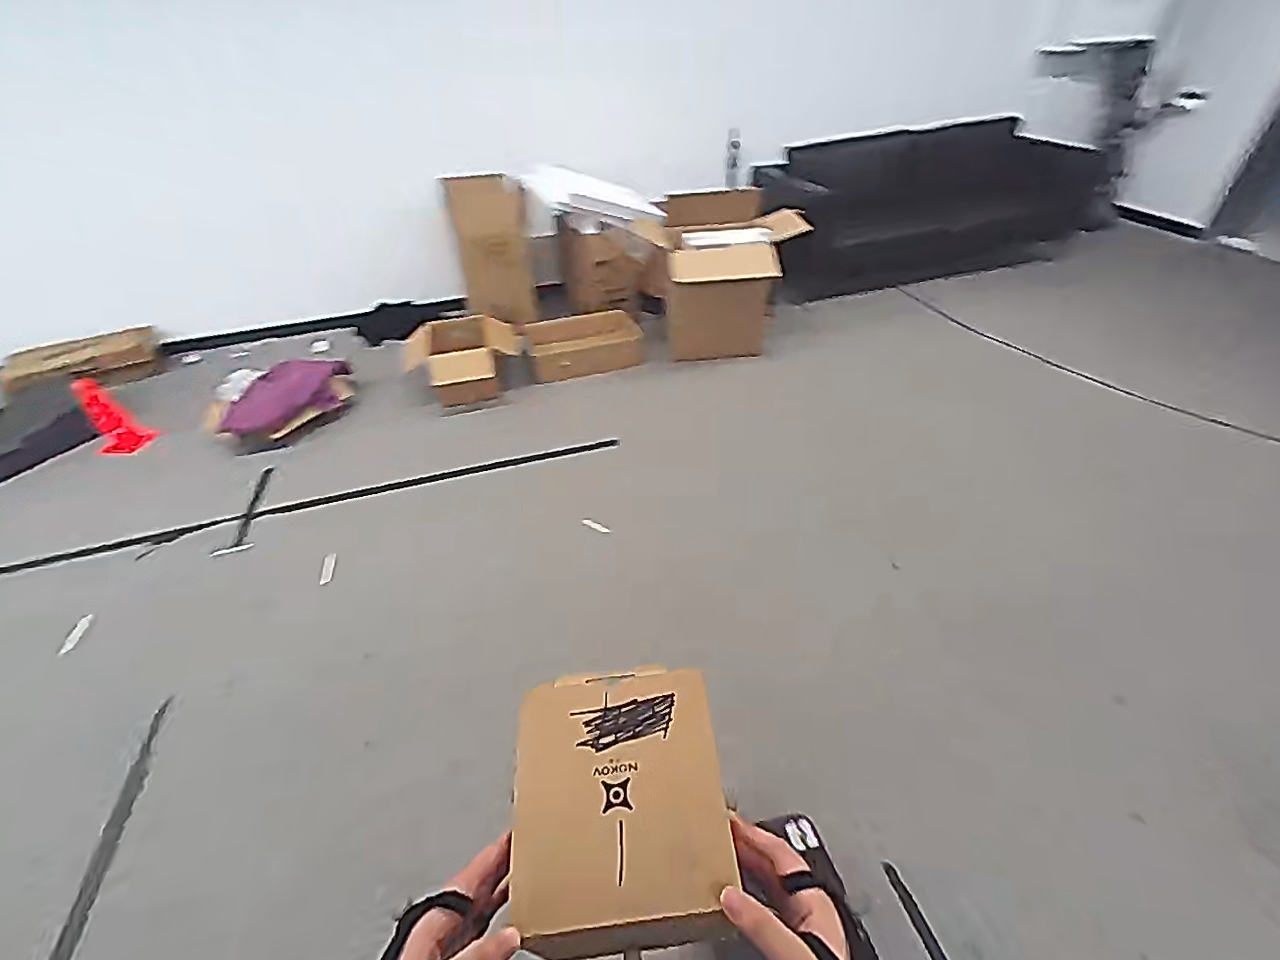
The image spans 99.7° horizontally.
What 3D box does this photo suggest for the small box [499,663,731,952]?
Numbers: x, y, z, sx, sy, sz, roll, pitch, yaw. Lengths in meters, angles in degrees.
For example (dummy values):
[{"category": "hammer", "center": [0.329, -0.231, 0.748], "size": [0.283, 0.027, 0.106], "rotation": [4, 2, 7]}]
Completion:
[{"category": "small box", "center": [-0.021, 0.296, 0.491], "size": [0.168, 0.176, 0.179], "rotation": [-8, 45, -2]}]
